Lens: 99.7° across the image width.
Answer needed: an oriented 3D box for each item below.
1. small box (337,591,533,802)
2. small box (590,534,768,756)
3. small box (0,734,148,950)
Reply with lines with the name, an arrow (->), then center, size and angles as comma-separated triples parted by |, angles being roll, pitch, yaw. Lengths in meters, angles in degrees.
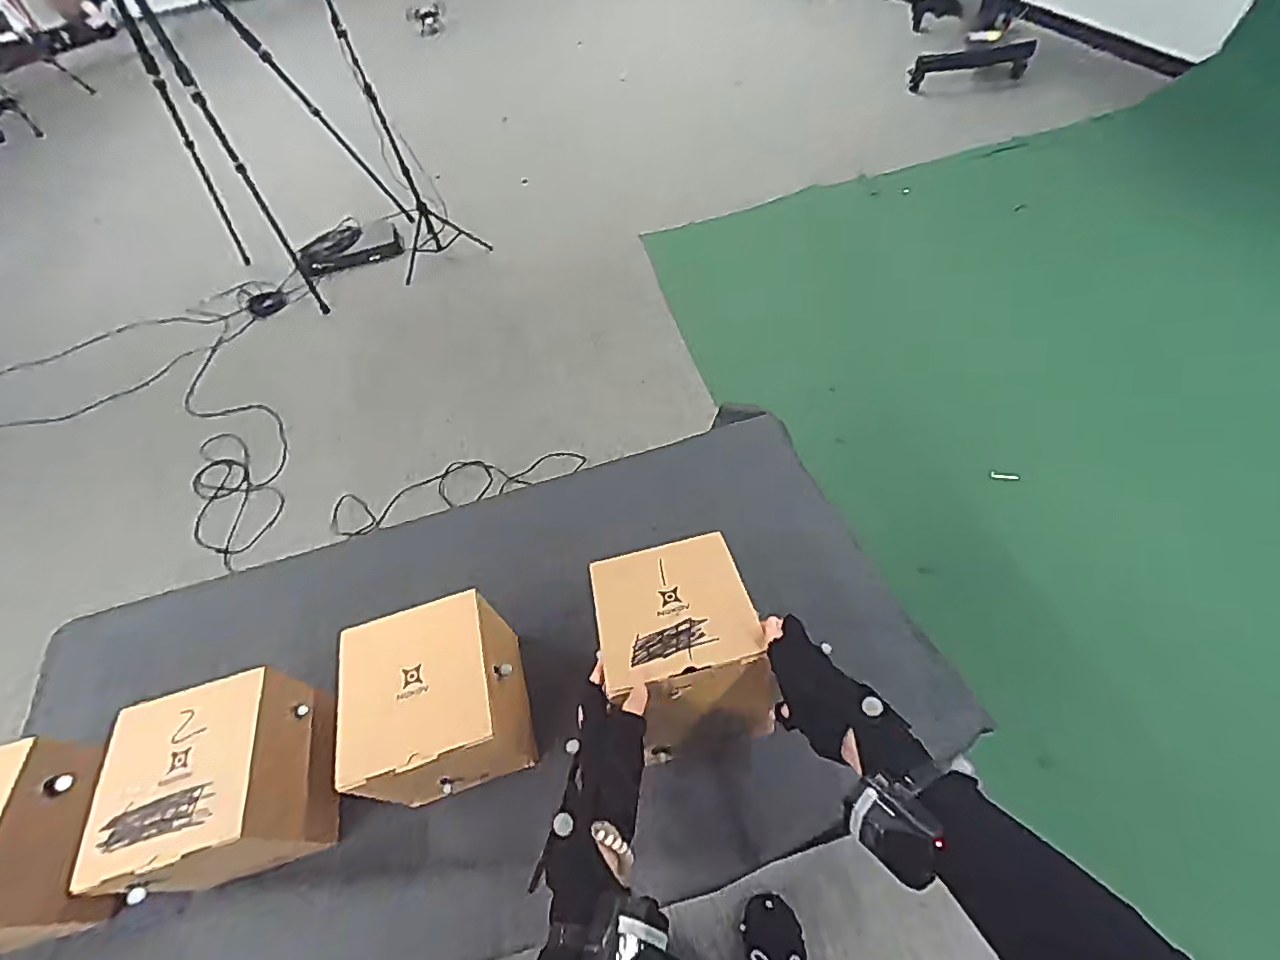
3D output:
small box -> -0.241, 0.267, 0.662 | 0.168, 0.176, 0.179 | -17, 55, -5
small box -> 0.045, 0.196, 0.630 | 0.168, 0.176, 0.179 | -13, 39, -1
small box -> -0.725, 0.417, 0.614 | 0.168, 0.176, 0.179 | -14, 53, -3
